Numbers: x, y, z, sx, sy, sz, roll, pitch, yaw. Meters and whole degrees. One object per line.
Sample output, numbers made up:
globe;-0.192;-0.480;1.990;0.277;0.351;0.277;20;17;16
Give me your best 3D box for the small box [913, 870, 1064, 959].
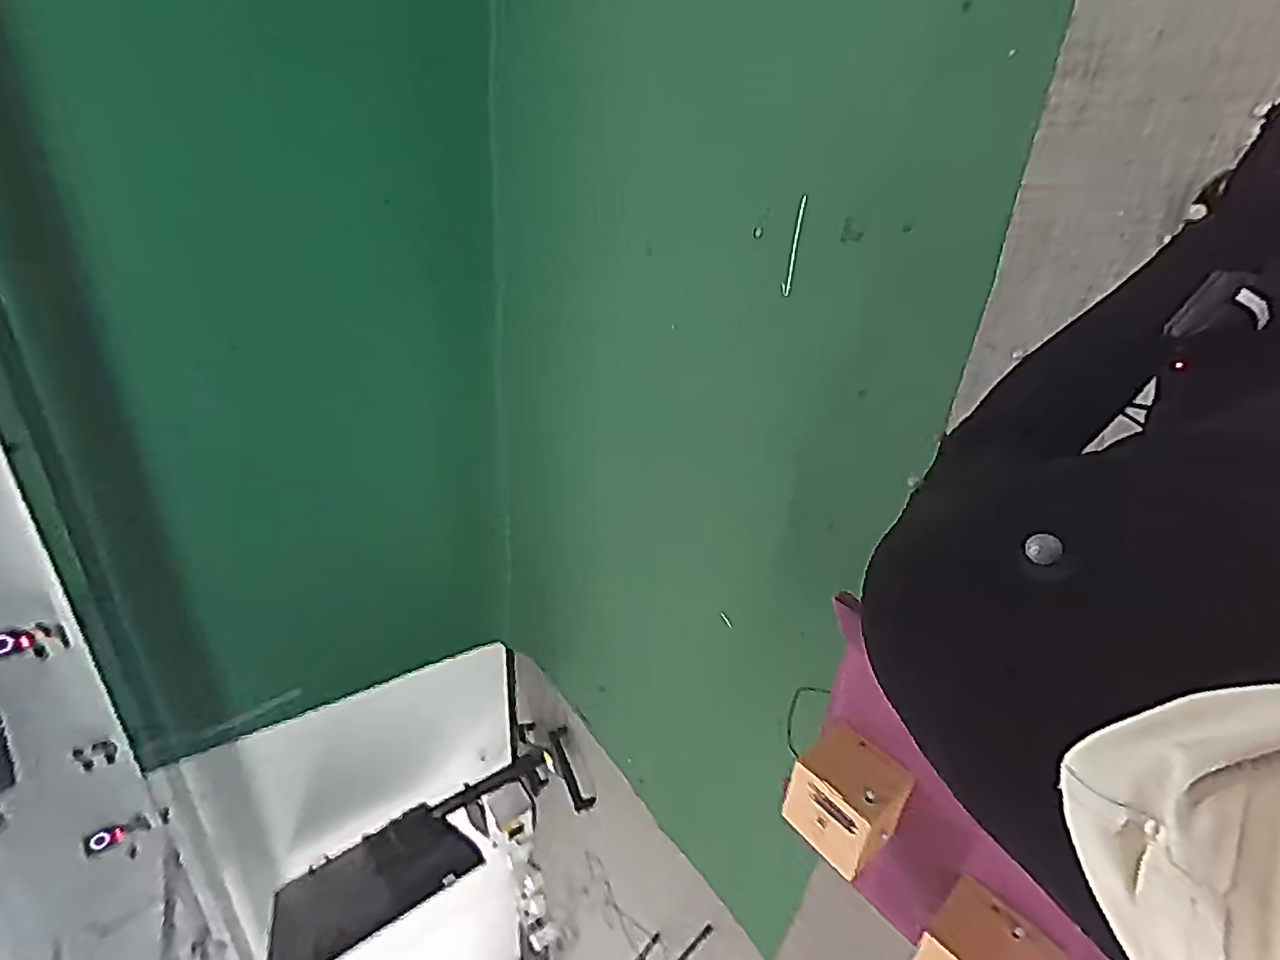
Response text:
small box;0.600;0.847;0.944;0.168;0.176;0.179;26;120;45
